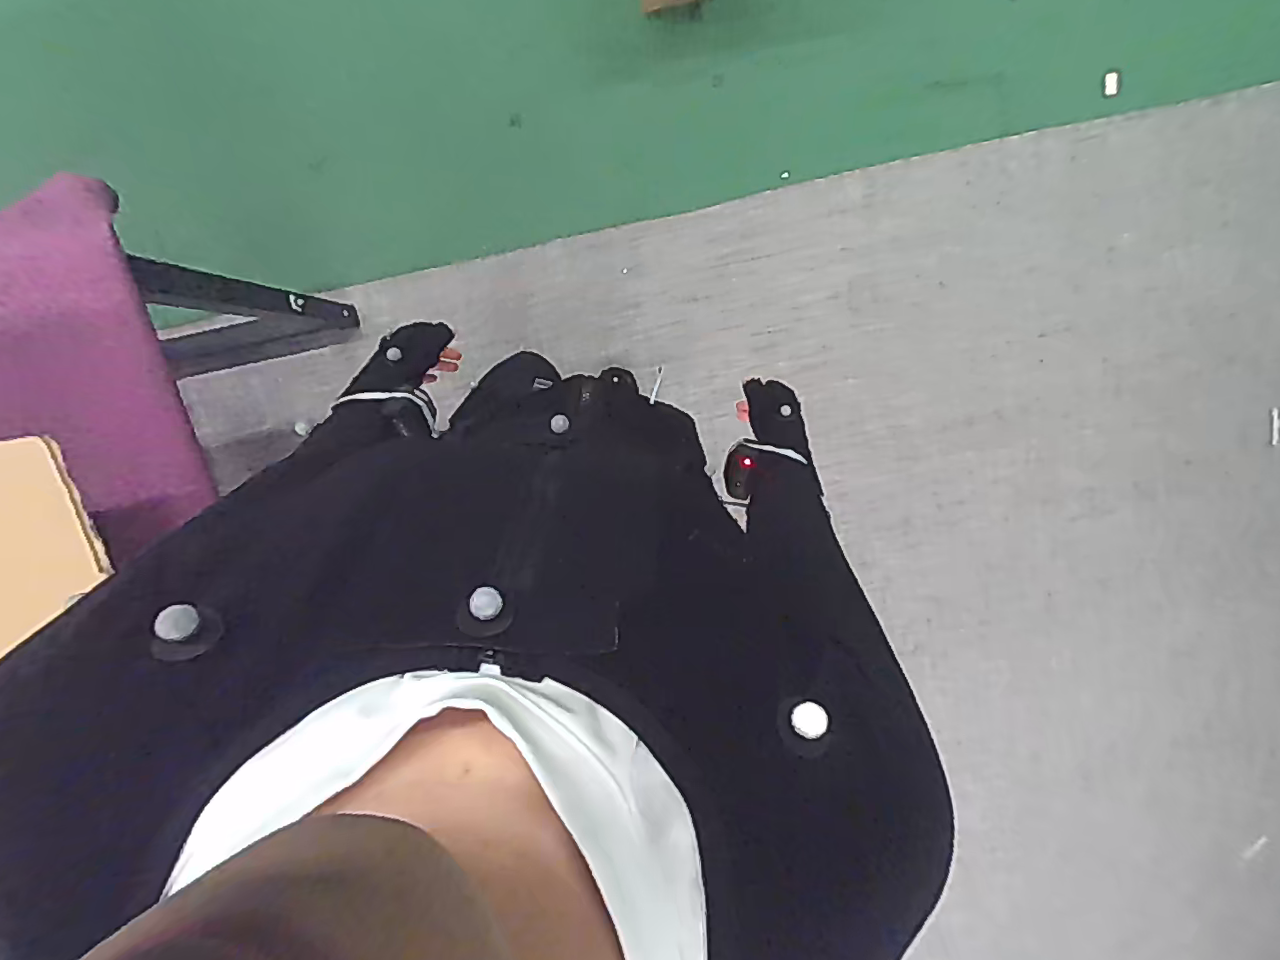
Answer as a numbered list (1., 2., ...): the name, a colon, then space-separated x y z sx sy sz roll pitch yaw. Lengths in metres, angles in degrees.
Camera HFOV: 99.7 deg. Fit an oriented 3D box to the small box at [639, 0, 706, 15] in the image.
1. small box: 0.068 -1.172 1.171 0.168 0.176 0.179 -13 101 1
